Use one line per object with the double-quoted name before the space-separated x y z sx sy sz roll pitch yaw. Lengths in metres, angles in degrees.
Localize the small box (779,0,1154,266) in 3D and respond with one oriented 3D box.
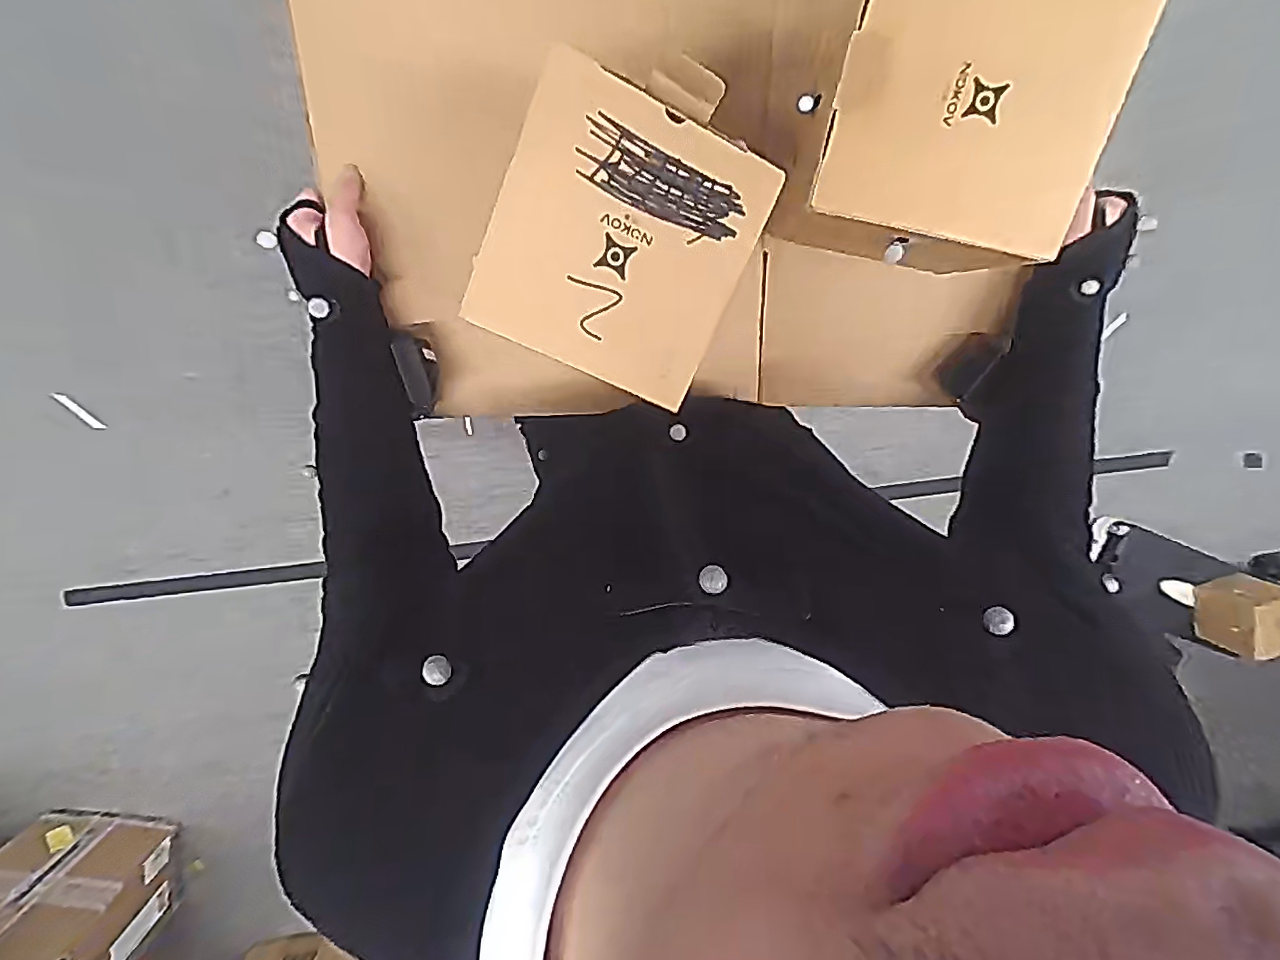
"small box" 0.227 -0.276 0.437 0.179 0.176 0.168 13 109 2
